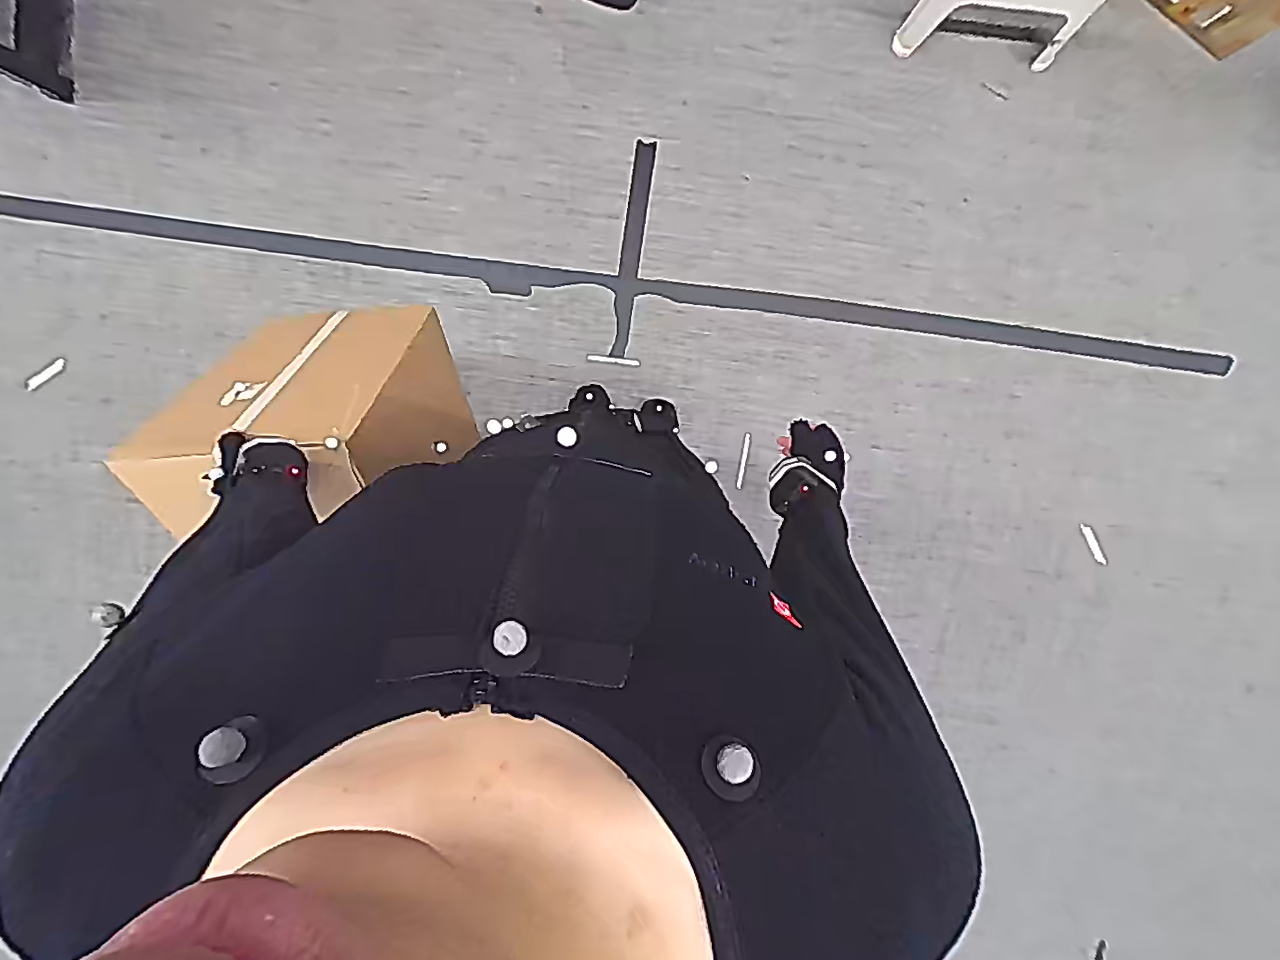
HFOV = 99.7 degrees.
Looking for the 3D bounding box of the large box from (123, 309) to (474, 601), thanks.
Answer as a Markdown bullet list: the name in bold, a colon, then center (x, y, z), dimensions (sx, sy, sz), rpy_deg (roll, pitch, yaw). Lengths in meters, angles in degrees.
- **large box**: center (-0.508, -0.053, 0.929), dimensions (0.320, 0.408, 0.320), rpy_deg (-5, 133, 3)
